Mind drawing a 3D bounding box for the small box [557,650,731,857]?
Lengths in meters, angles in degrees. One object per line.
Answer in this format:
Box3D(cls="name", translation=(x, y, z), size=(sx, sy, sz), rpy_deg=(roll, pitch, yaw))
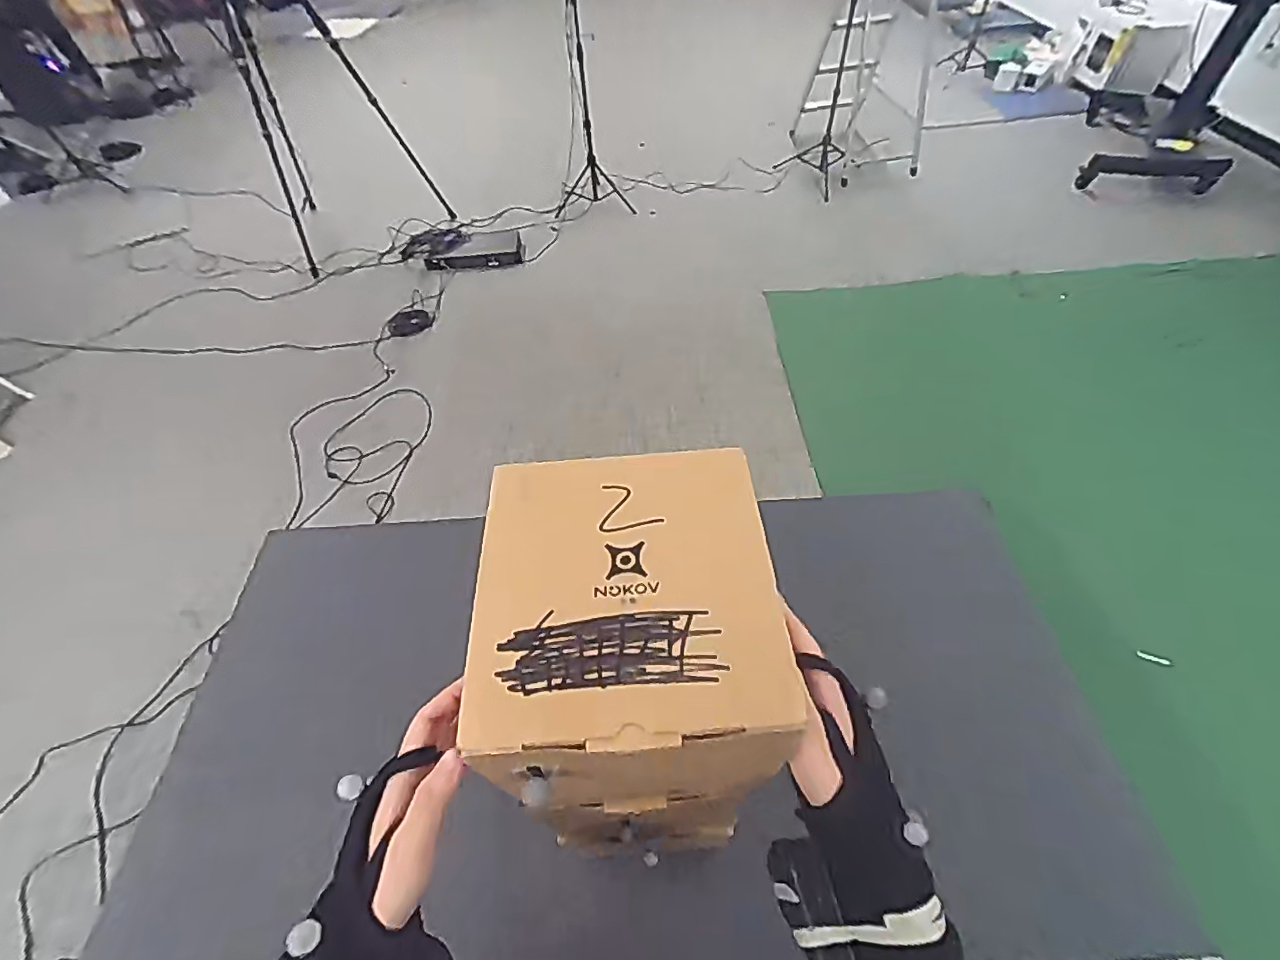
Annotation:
Box3D(cls="small box", translation=(0.003, 0.311, 0.613), size=(0.168, 0.176, 0.179), rpy_deg=(-4, 52, 0))
